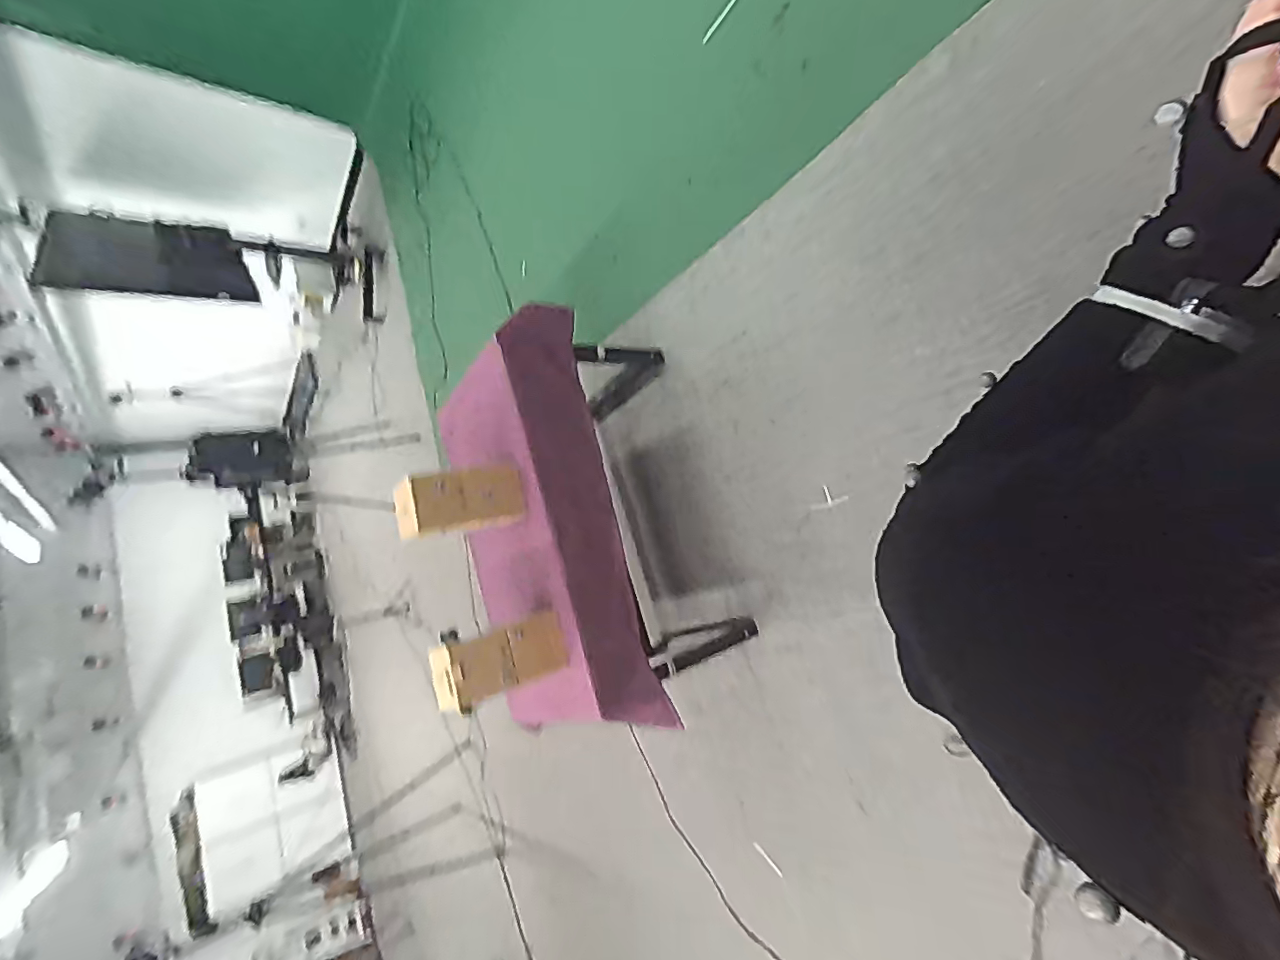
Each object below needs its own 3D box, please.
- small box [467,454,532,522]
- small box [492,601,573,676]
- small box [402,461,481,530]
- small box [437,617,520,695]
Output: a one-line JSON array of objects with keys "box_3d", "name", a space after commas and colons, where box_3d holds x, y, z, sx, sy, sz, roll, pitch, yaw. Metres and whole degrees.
[{"box_3d": [-0.457, 0.024, 1.709, 0.168, 0.176, 0.179, -21, 80, 49], "name": "small box"}, {"box_3d": [-0.321, 0.474, 1.621, 0.168, 0.176, 0.179, -27, 74, 49], "name": "small box"}, {"box_3d": [-0.587, 0.044, 1.613, 0.179, 0.176, 0.168, -21, 79, 51], "name": "small box"}, {"box_3d": [-0.450, 0.493, 1.521, 0.179, 0.176, 0.168, -29, 73, 50], "name": "small box"}]
